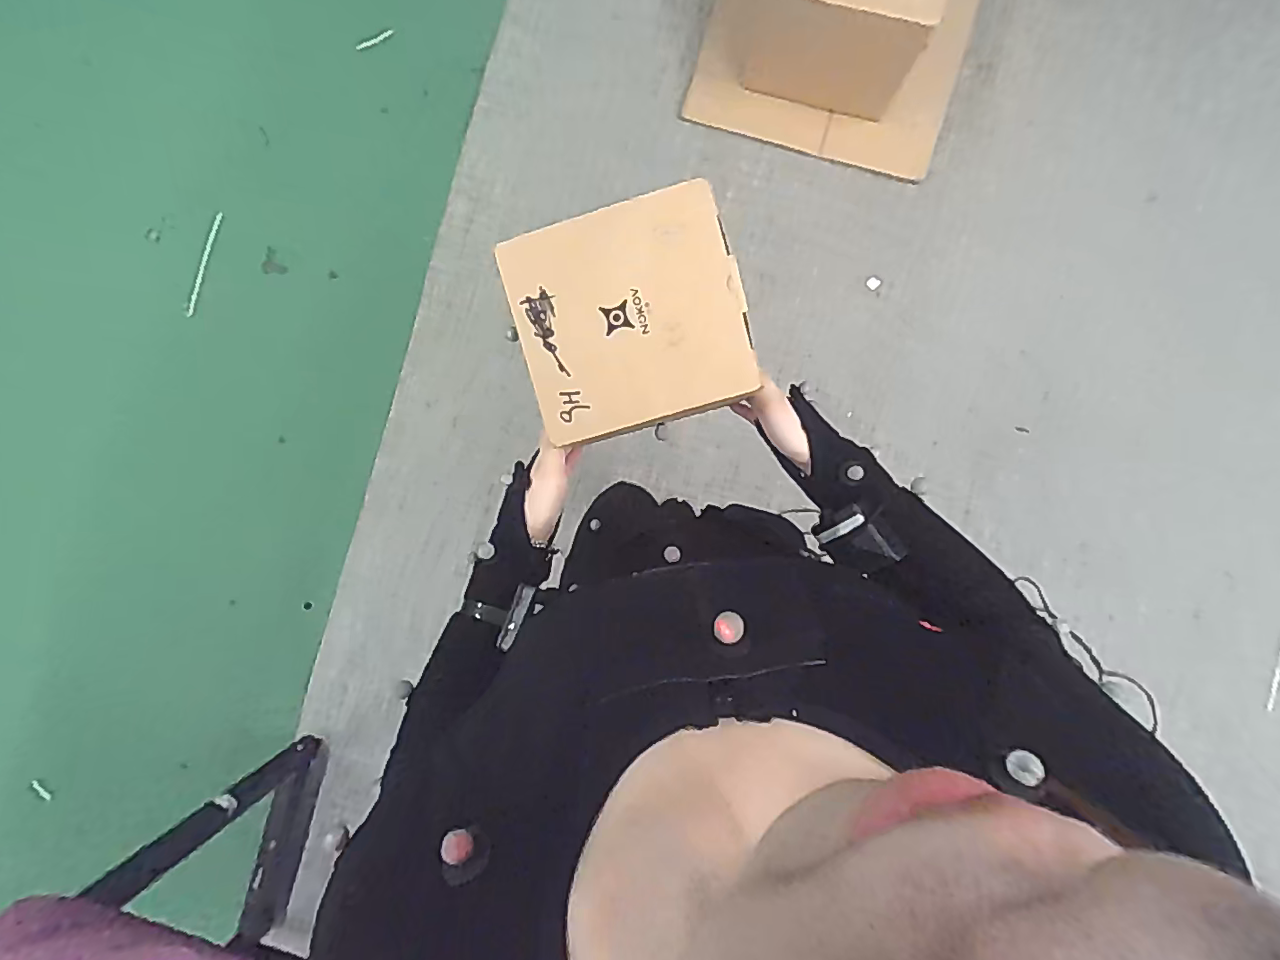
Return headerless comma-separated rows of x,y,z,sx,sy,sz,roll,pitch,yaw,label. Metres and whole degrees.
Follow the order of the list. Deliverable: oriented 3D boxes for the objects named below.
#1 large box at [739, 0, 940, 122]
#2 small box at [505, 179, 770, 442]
0.495,-1.182,1.355,0.408,0.320,0.320,15,90,2,large box
0.000,-0.134,0.494,0.179,0.176,0.168,-14,92,3,small box
